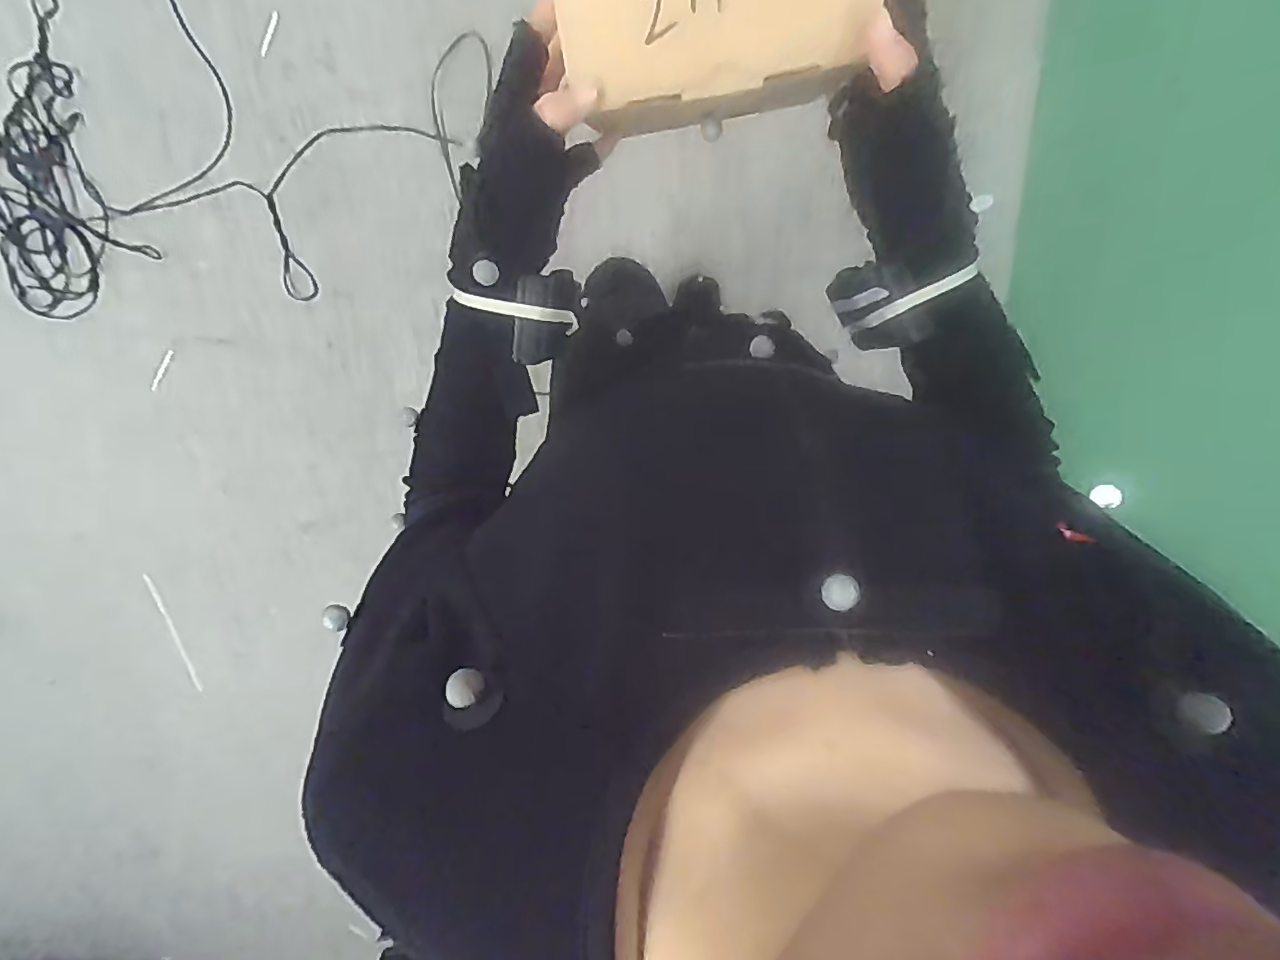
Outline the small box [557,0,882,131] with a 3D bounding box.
[{"bbox_3d":[0.036,-0.331,0.321,0.168,0.176,0.179,-5,116,7],"label":"small box"}]
